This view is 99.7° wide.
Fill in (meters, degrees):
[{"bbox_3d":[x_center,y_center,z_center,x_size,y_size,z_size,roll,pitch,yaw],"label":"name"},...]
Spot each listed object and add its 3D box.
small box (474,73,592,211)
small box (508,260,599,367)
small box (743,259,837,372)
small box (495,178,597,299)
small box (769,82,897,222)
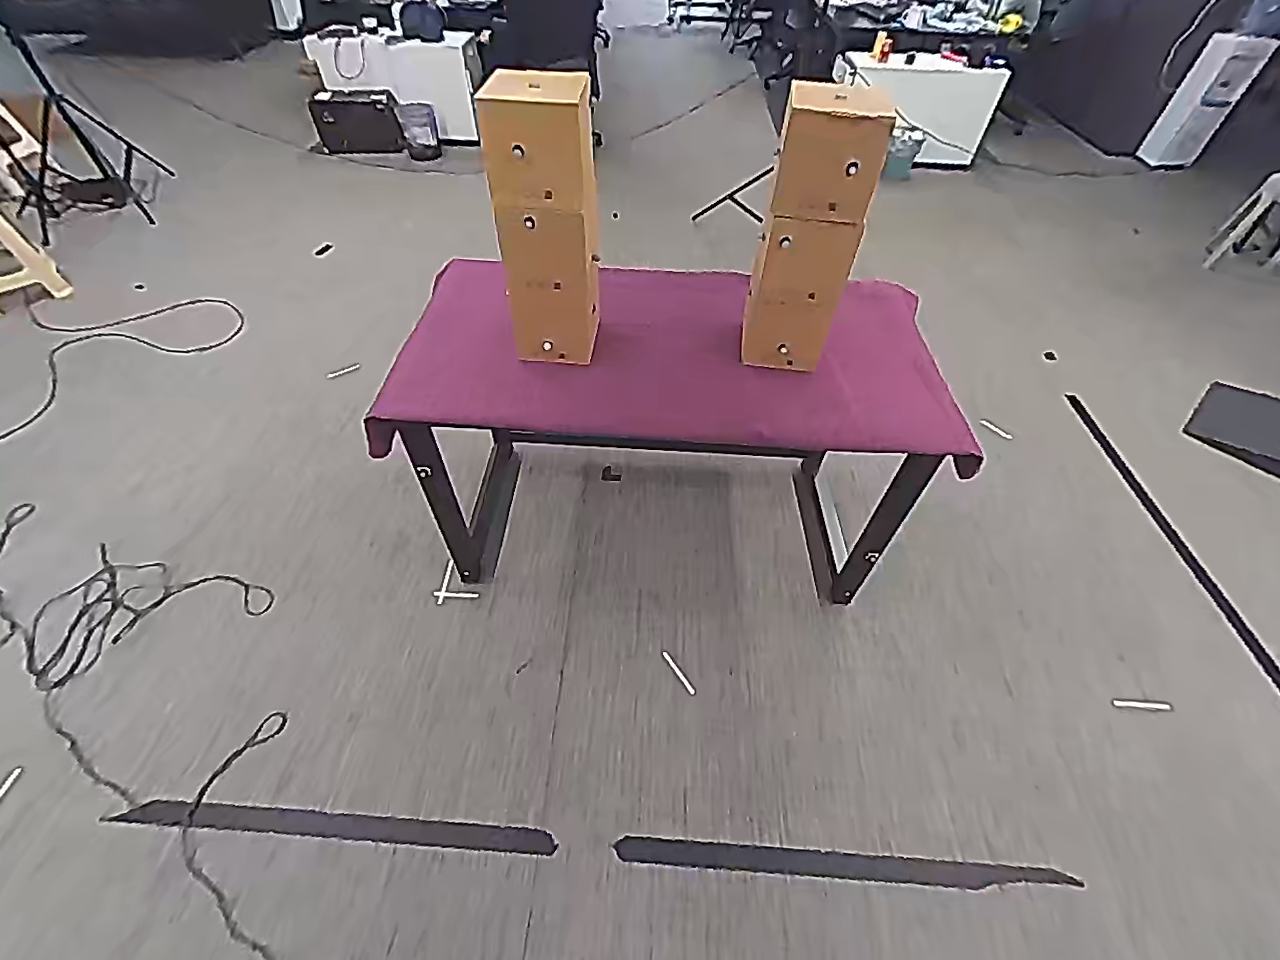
[{"bbox_3d":[-0.175,-0.591,0.950,0.168,0.176,0.179,3,49,0],"label":"small box"},{"bbox_3d":[-0.182,-0.374,1.194,0.168,0.176,0.179,4,50,2],"label":"small box"},{"bbox_3d":[0.326,-0.367,1.205,0.168,0.176,0.179,7,49,5],"label":"small box"},{"bbox_3d":[-0.176,-0.483,1.072,0.168,0.176,0.179,3,49,1],"label":"small box"},{"bbox_3d":[0.329,-0.576,0.954,0.168,0.176,0.179,9,48,5],"label":"small box"}]
